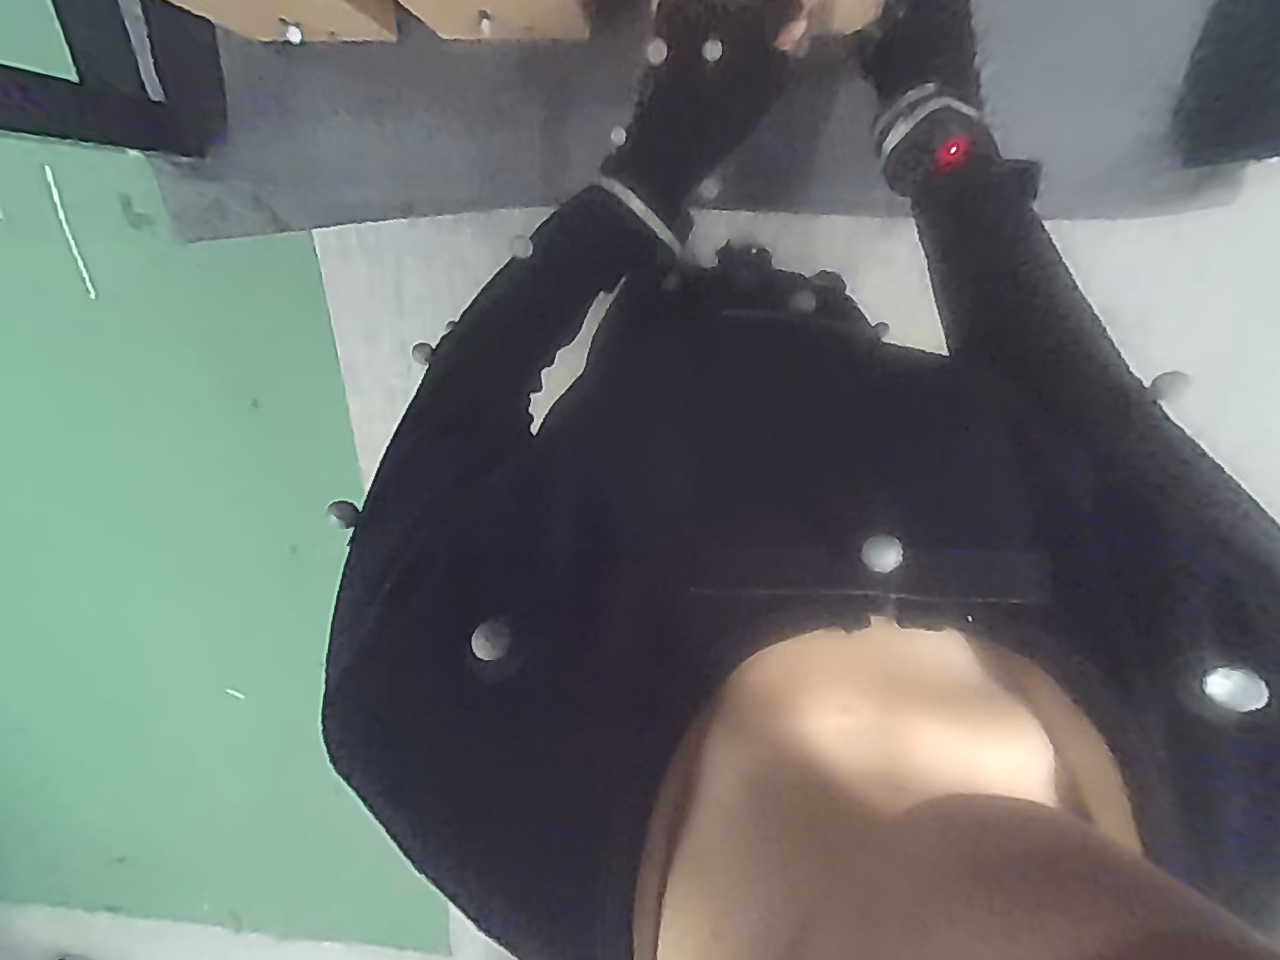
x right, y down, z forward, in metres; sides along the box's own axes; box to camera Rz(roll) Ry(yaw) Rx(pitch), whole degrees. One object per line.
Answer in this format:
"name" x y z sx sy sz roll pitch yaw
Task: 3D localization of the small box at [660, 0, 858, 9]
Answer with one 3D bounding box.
"small box" 0.119 -0.469 0.391 0.168 0.176 0.179 20 140 21
